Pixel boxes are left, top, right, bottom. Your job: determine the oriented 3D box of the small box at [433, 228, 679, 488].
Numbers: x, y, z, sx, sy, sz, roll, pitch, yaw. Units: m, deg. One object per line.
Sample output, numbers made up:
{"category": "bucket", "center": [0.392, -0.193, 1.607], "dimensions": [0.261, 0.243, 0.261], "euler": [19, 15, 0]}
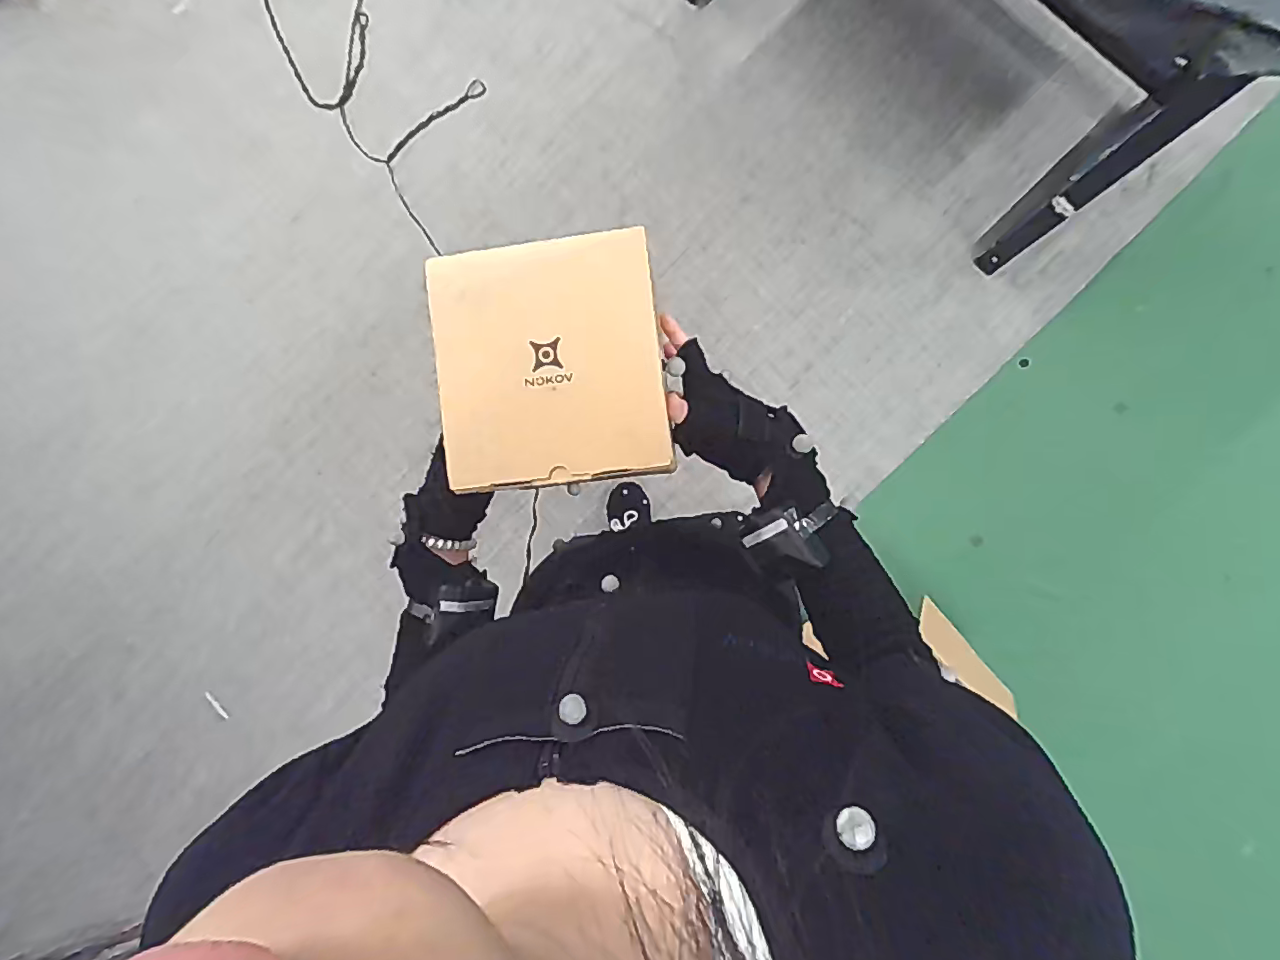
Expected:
{"category": "small box", "center": [-0.059, -0.089, 0.473], "dimensions": [0.168, 0.176, 0.179], "euler": [-7, 91, 3]}
